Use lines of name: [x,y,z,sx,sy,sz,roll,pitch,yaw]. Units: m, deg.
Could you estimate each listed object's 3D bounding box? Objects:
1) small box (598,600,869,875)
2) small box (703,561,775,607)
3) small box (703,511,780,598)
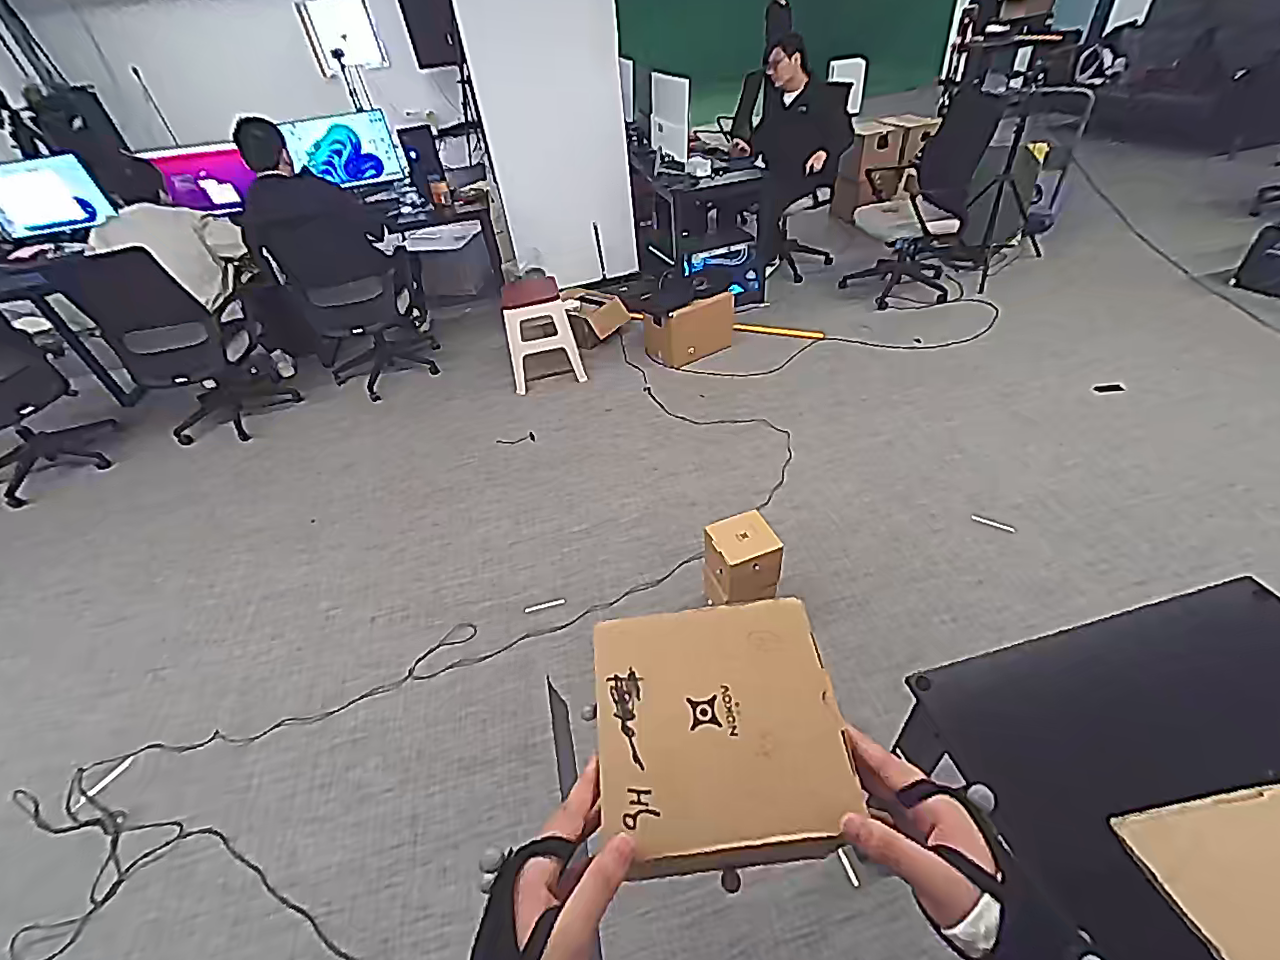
small box: [0.060,0.221,0.460,0.179,0.176,0.168,-6,49,-2]
small box: [0.313,0.351,1.737,0.179,0.176,0.168,-17,42,-9]
small box: [0.303,0.227,1.631,0.179,0.176,0.168,-17,43,-12]
